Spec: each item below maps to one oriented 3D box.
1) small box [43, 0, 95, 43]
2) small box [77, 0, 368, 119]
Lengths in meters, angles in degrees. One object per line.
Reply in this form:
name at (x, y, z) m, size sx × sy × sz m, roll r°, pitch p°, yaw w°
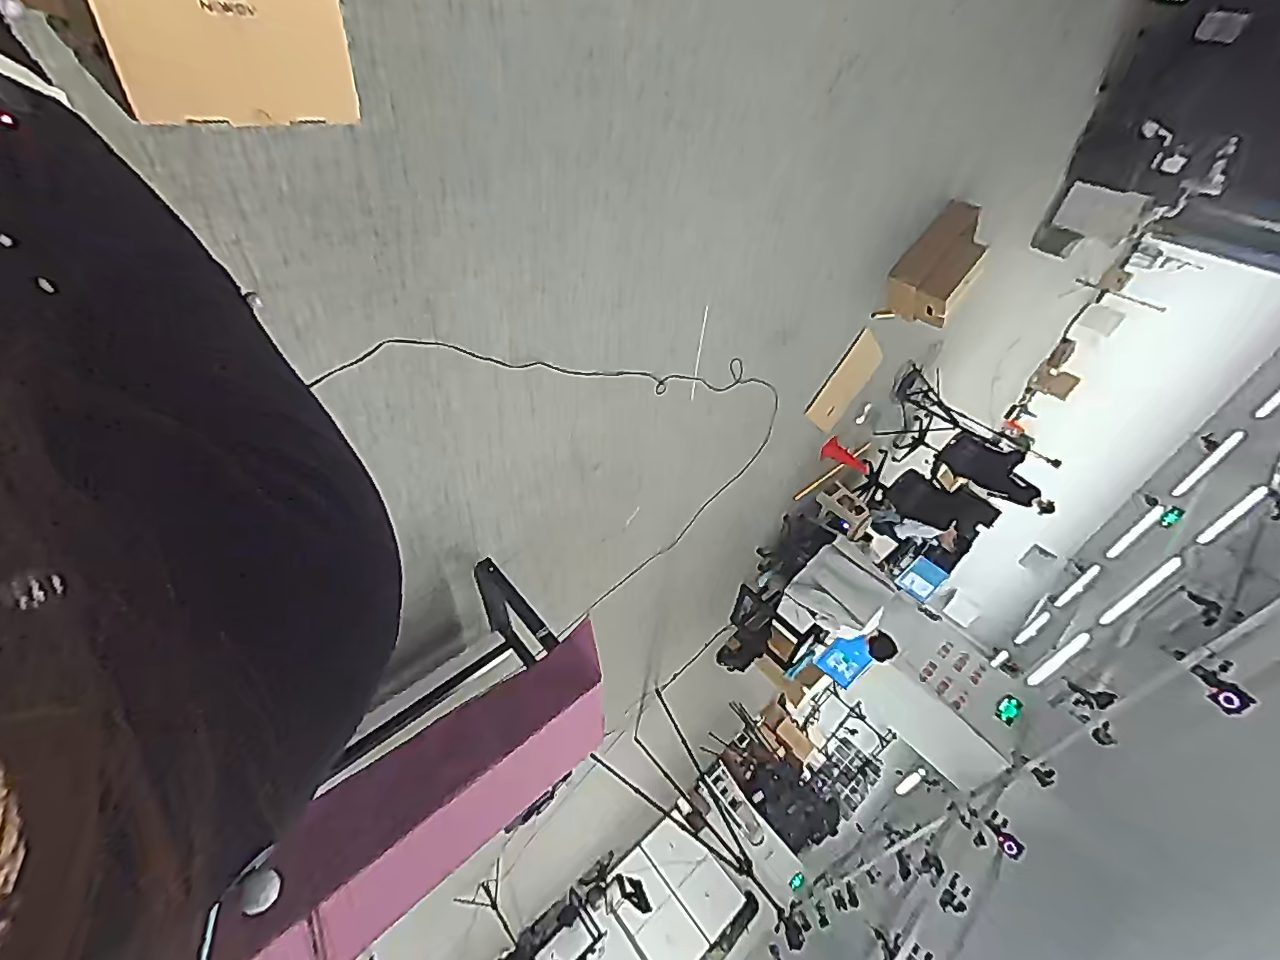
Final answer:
small box at (-0.572, -0.593, 0.594) m, size 0.179 × 0.176 × 0.168 m, roll -28°, pitch 141°, yaw -31°
small box at (-0.352, -0.408, 0.435) m, size 0.168 × 0.176 × 0.179 m, roll -27°, pitch 142°, yaw -34°
